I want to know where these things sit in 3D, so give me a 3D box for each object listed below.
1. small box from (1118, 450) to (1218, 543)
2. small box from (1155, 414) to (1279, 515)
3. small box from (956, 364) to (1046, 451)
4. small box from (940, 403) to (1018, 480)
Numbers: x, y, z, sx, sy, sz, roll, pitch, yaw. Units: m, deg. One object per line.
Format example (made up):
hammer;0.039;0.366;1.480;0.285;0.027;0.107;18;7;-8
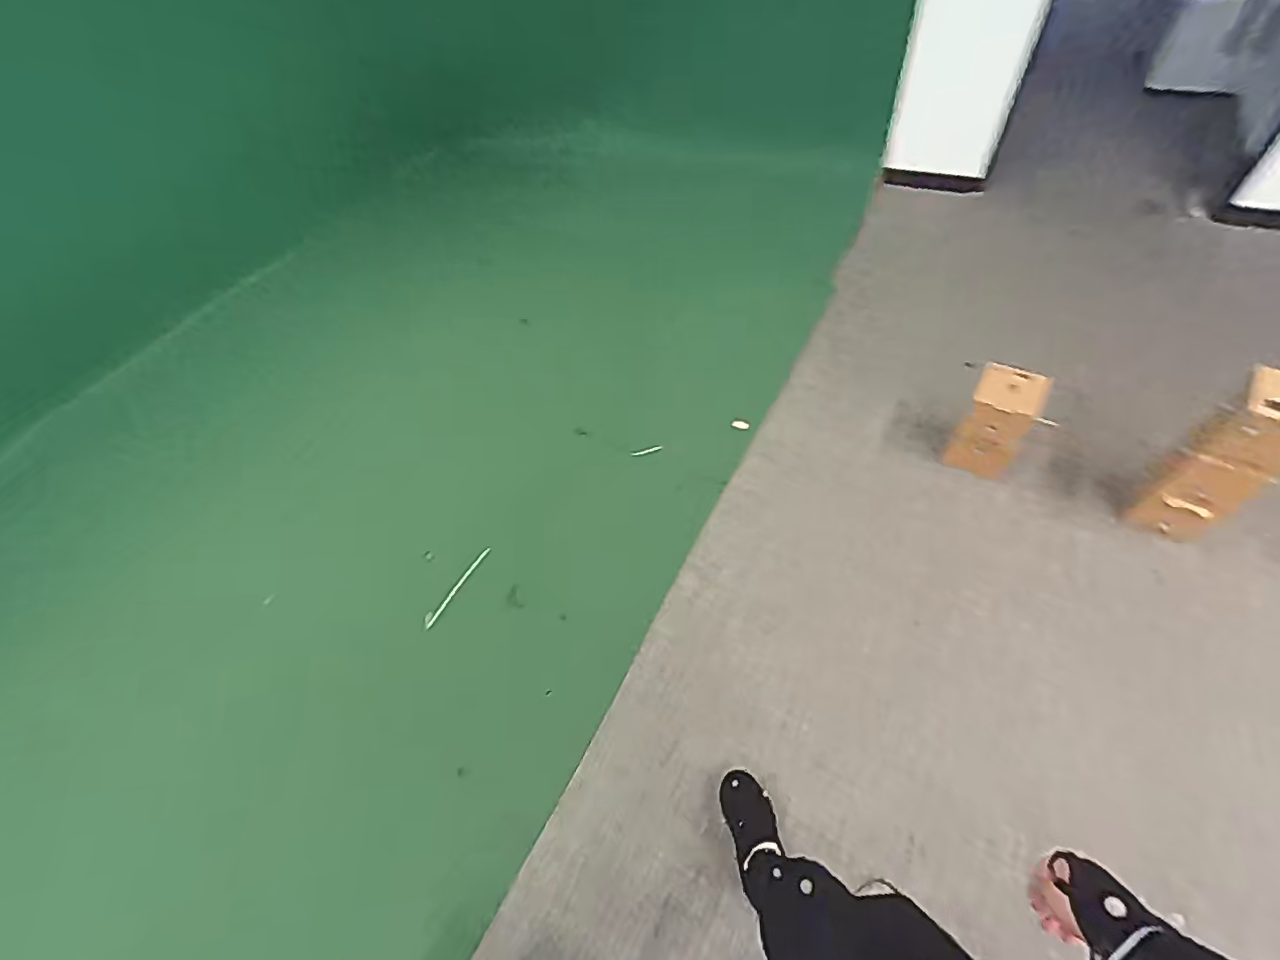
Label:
small box;1.561;0.051;1.587;0.168;0.176;0.179;31;66;29
small box;1.547;-0.040;1.456;0.168;0.176;0.179;27;64;24
small box;1.096;-0.218;1.655;0.168;0.176;0.179;25;64;24
small box;1.125;-0.126;1.787;0.179;0.176;0.168;26;64;24
